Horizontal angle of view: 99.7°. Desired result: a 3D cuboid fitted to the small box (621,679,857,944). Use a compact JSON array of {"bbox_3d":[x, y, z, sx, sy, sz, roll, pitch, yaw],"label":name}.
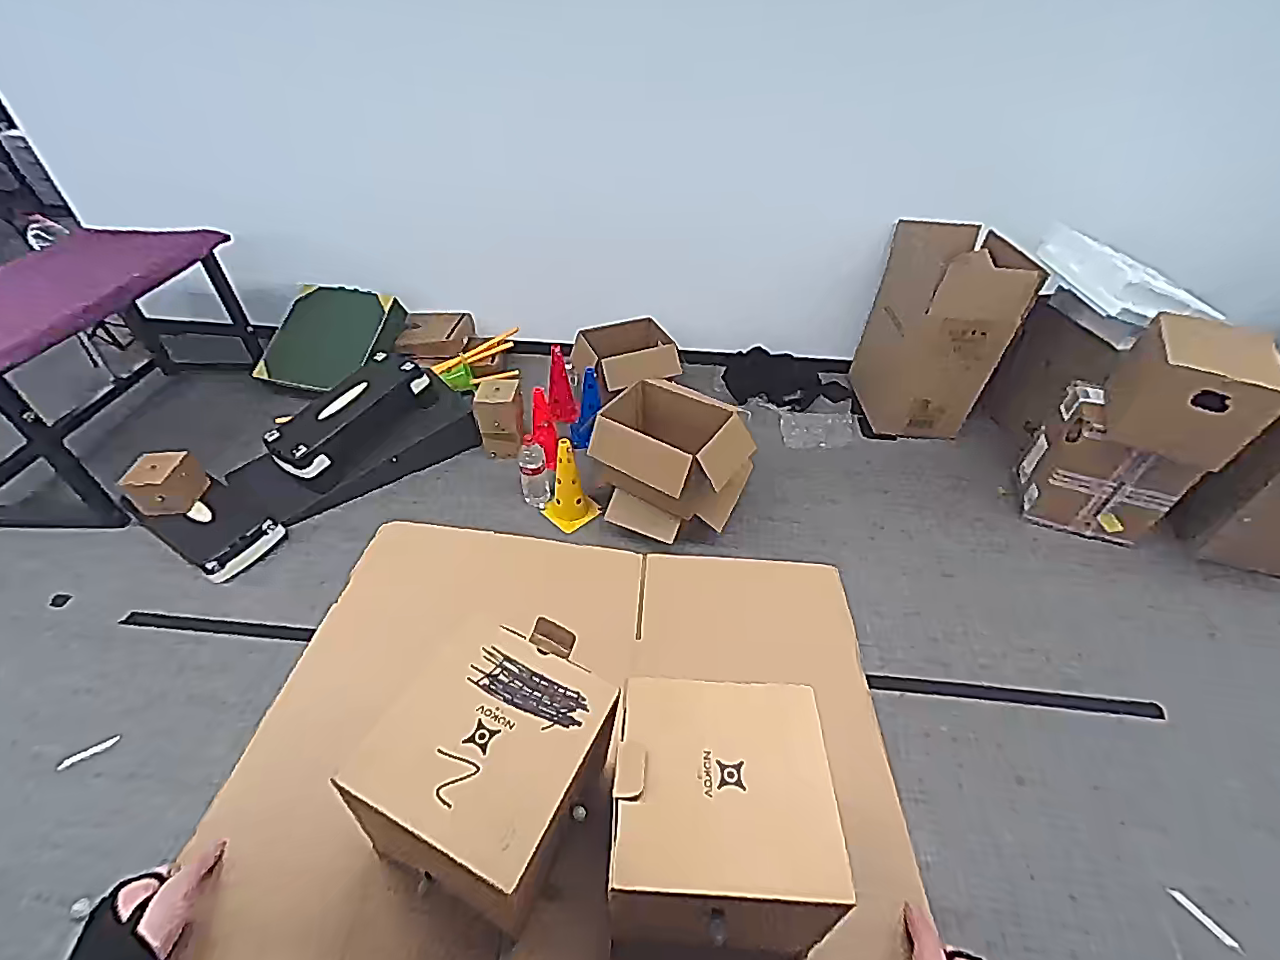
[{"bbox_3d":[0.075,0.308,0.505,0.179,0.176,0.168,1,40,2],"label":"small box"}]
